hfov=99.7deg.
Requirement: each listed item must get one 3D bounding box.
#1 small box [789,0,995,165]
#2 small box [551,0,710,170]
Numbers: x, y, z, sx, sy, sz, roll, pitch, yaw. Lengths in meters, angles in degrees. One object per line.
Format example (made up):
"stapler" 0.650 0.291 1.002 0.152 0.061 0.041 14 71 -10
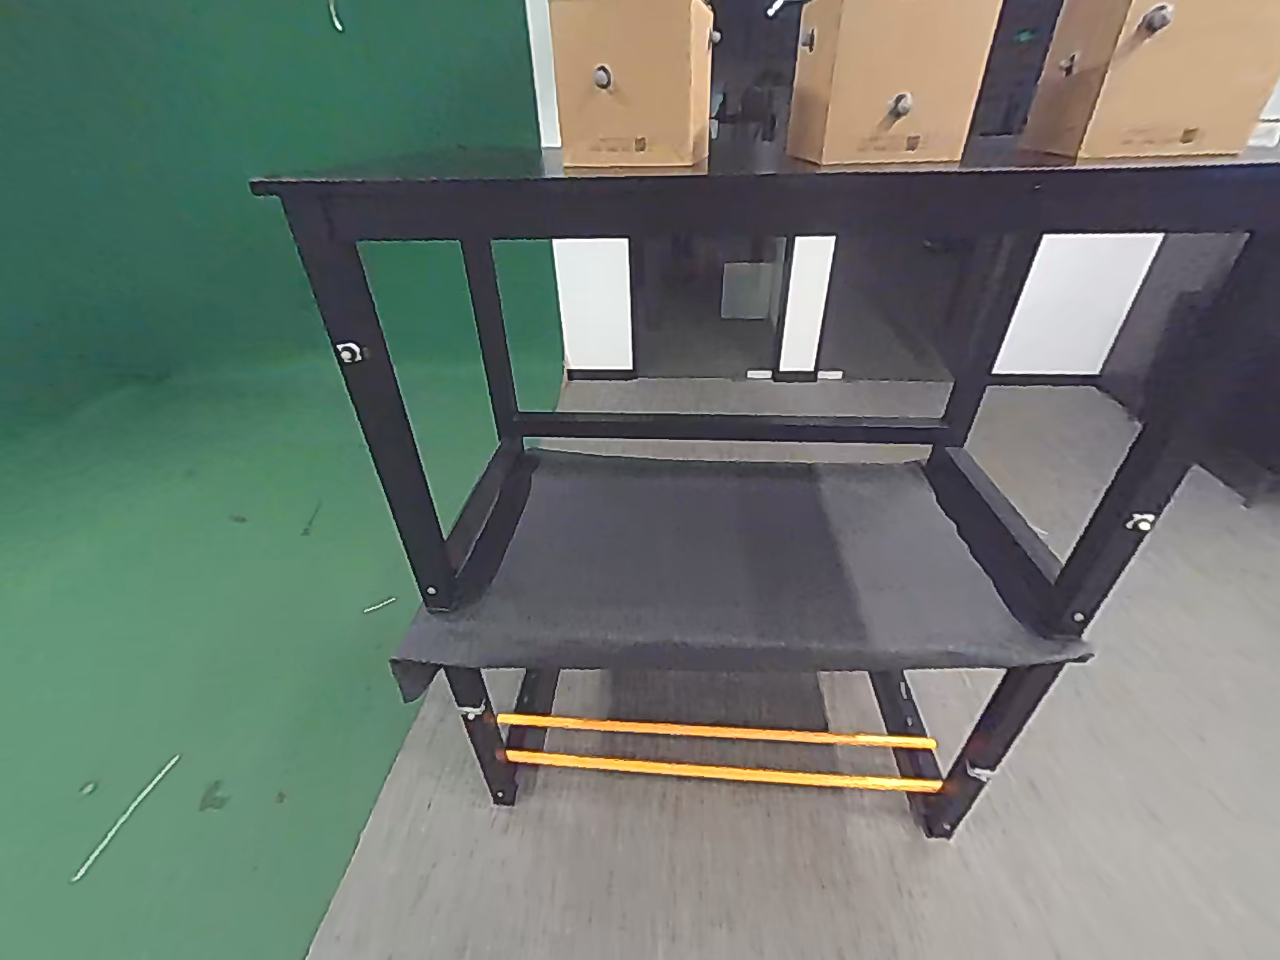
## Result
"small box" 0.290 -0.491 0.668 0.168 0.176 0.179 -2 34 1
"small box" -0.001 -0.506 0.708 0.168 0.176 0.179 6 34 11
